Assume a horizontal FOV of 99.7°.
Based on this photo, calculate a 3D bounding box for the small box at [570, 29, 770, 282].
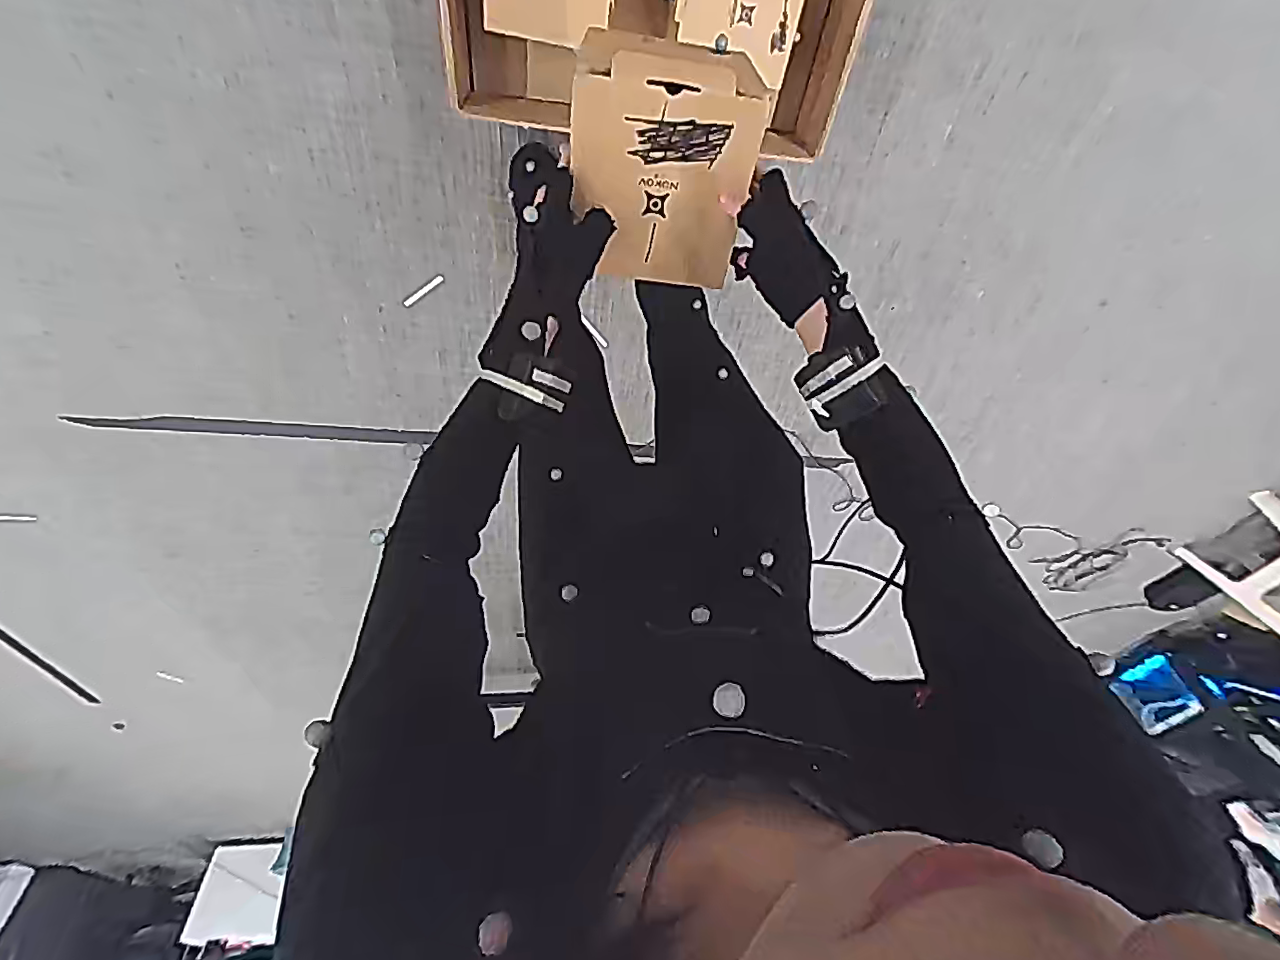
[{"bbox_3d":[0.018,-0.335,0.559,0.168,0.176,0.179,5,138,-5],"label":"small box"}]

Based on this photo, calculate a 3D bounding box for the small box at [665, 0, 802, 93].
[{"bbox_3d":[0.136,-0.718,0.824,0.179,0.176,0.168,4,136,-7],"label":"small box"}]

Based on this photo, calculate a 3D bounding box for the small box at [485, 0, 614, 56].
[{"bbox_3d":[-0.127,-0.735,0.775,0.179,0.176,0.168,4,134,-11],"label":"small box"}]
